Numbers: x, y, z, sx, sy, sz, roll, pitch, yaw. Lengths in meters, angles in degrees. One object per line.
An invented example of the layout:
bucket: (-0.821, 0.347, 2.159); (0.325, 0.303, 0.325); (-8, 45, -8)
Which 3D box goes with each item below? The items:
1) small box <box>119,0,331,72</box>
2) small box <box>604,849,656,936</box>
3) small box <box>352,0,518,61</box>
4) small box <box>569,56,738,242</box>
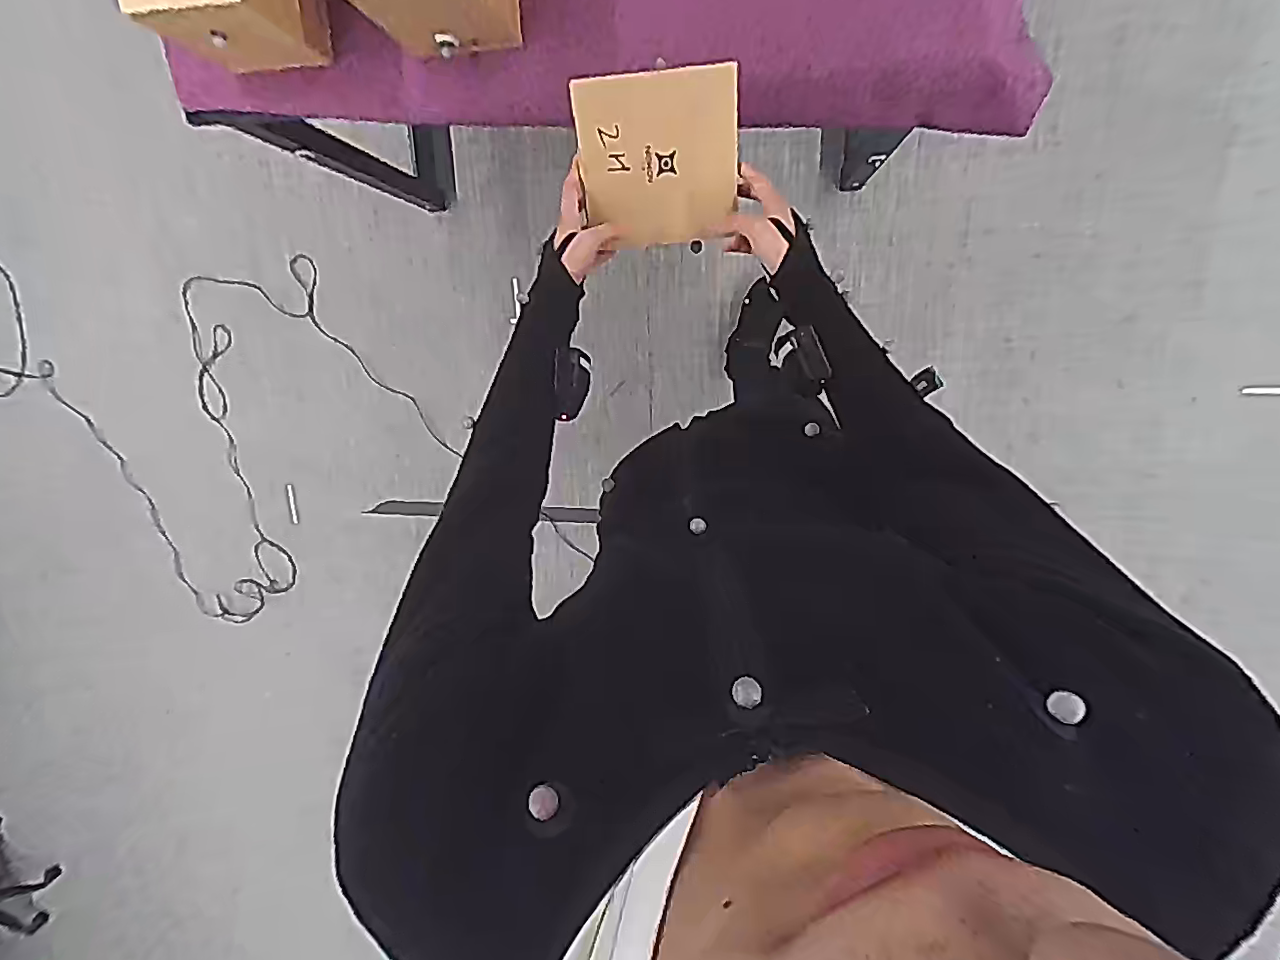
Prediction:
small box: (-0.561, -0.684, 0.731); (0.179, 0.176, 0.168); (2, 106, 9)
small box: (-0.031, 1.473, 1.938); (0.168, 0.176, 0.179); (1, 102, 8)
small box: (-0.268, -0.680, 0.689); (0.168, 0.176, 0.179); (1, 107, 9)
small box: (0.018, -0.393, 0.657); (0.179, 0.176, 0.168); (-4, 119, 3)
